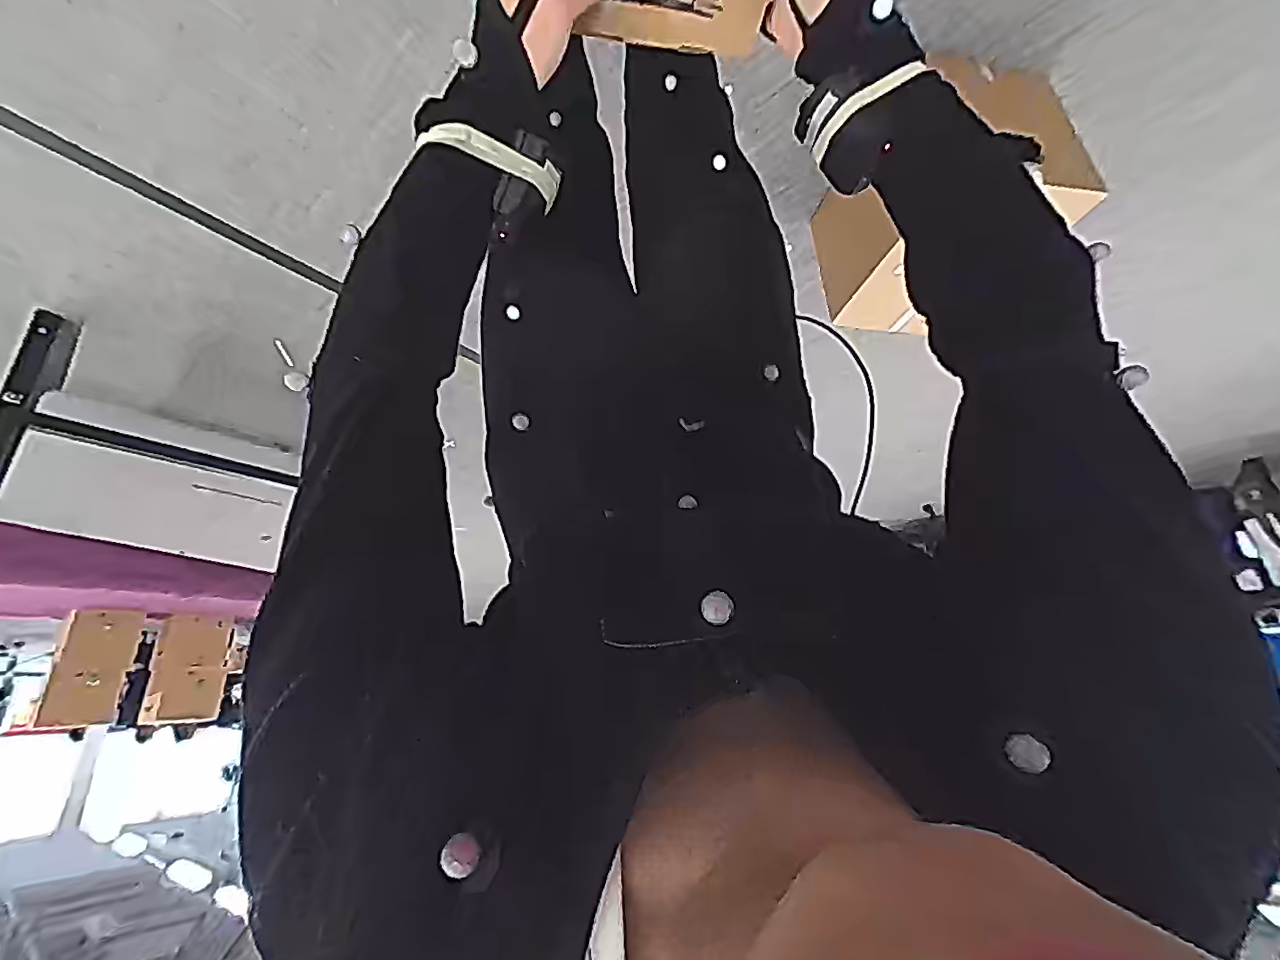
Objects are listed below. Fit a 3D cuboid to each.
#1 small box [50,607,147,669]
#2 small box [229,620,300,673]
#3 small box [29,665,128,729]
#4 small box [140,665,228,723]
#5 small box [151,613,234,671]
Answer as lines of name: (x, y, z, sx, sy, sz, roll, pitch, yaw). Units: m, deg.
small box: (-1.676, 0.497, 1.679, 0.179, 0.176, 0.168, -21, 153, 34)
small box: (-1.409, 0.628, 2.038, 0.179, 0.176, 0.168, -21, 151, 32)
small box: (-1.674, 0.647, 1.617, 0.179, 0.176, 0.168, -22, 152, 36)
small box: (-1.501, 0.707, 1.789, 0.179, 0.176, 0.168, -20, 152, 32)
small box: (-1.515, 0.551, 1.837, 0.179, 0.176, 0.168, -20, 152, 35)
